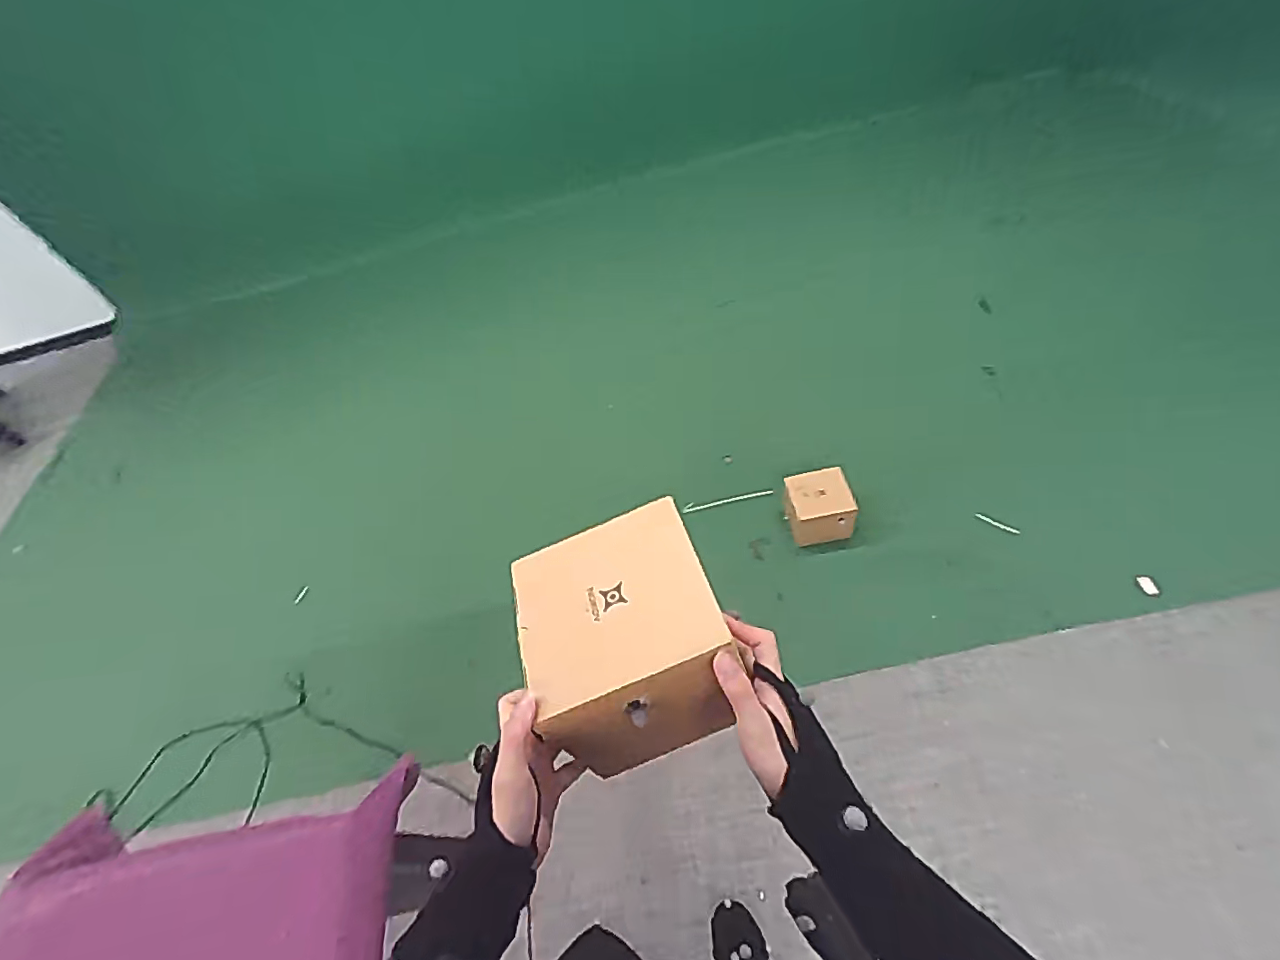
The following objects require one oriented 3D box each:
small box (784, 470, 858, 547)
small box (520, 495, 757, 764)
[{"bbox_3d":[0.562,0.093,1.705,0.179,0.176,0.168,-11,52,4],"label":"small box"},{"bbox_3d":[0.004,0.151,0.532,0.179,0.176,0.168,-24,45,4],"label":"small box"}]
